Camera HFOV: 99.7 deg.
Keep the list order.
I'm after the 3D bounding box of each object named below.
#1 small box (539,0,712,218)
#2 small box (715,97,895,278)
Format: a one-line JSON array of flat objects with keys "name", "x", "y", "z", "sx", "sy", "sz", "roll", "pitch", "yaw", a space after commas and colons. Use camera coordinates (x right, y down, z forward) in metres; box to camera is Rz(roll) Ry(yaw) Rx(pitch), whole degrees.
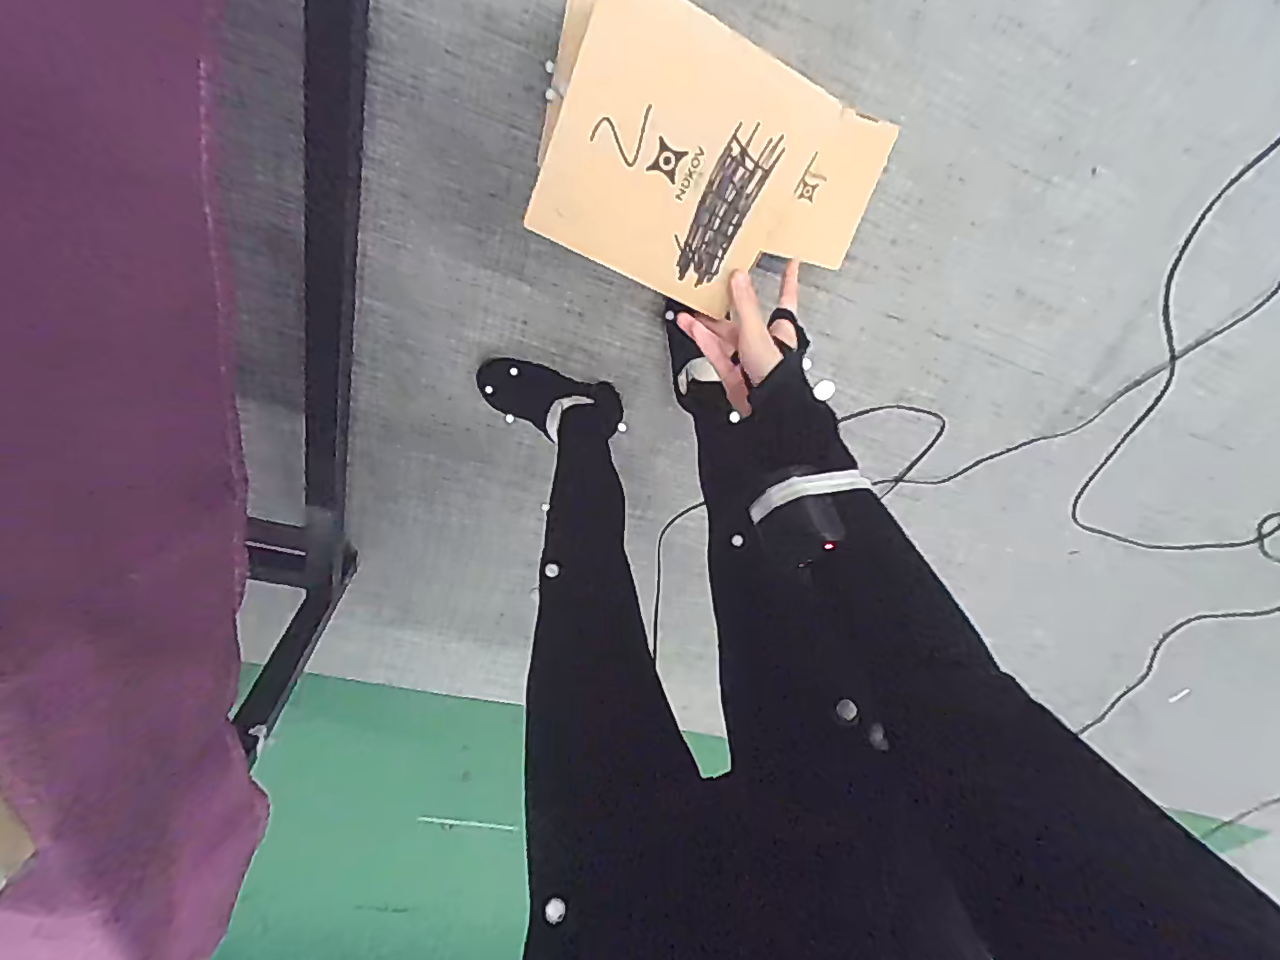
[{"name": "small box", "x": -0.026, "y": -0.472, "z": 0.700, "sx": 0.168, "sy": 0.176, "sz": 0.179, "roll": 14, "pitch": 125, "yaw": -13}, {"name": "small box", "x": 0.212, "y": -0.411, "z": 0.758, "sx": 0.168, "sy": 0.176, "sz": 0.179, "roll": 10, "pitch": 123, "yaw": -10}]
